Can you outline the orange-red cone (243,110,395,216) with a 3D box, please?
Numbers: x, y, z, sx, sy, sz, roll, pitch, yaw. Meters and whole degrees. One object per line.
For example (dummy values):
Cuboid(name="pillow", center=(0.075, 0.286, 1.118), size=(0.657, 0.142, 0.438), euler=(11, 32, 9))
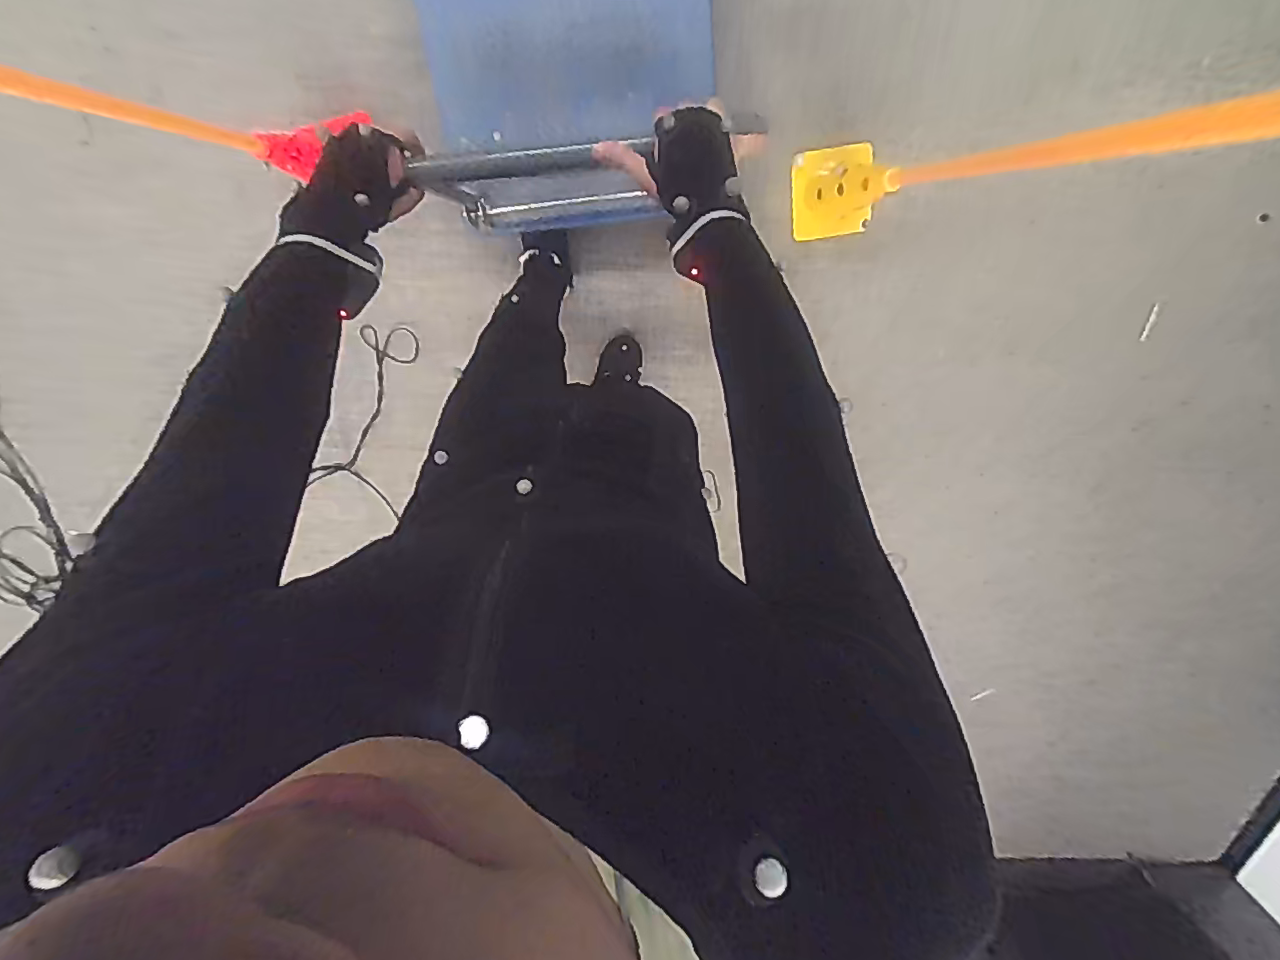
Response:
Cuboid(name="orange-red cone", center=(-0.699, -0.679, 1.129), size=(0.199, 0.360, 0.198), euler=(-11, 114, 4))
